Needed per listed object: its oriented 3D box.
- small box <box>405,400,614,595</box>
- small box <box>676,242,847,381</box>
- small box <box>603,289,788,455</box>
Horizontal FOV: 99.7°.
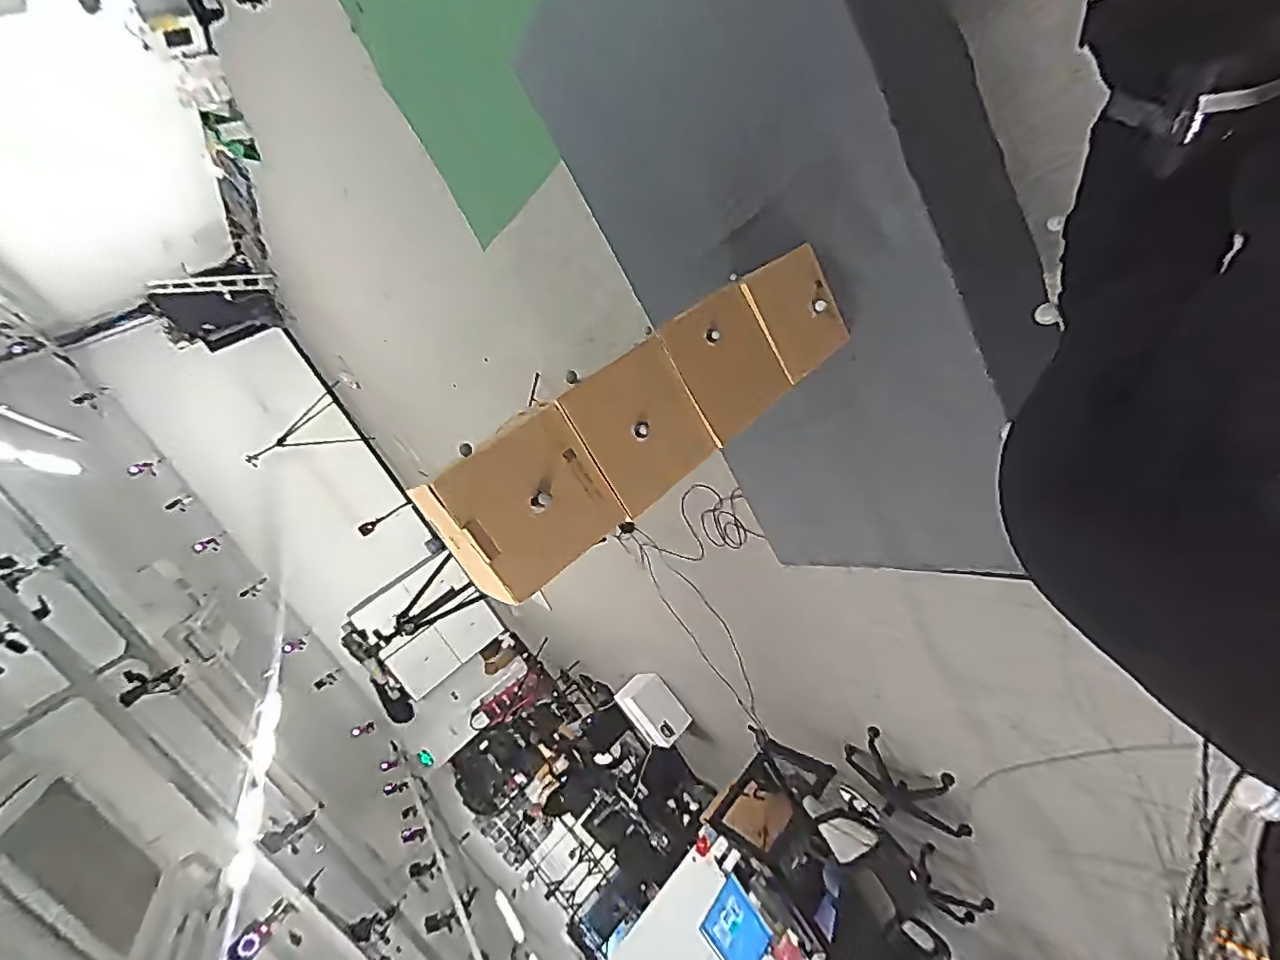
[{"bbox_3d":[-0.157,0.019,0.669,0.179,0.176,0.168,-8,116,59],"label":"small box"},{"bbox_3d":[0.196,-0.253,0.875,0.179,0.176,0.168,-6,118,57],"label":"small box"},{"bbox_3d":[0.083,-0.161,0.803,0.179,0.176,0.168,59,152,-13],"label":"small box"}]
